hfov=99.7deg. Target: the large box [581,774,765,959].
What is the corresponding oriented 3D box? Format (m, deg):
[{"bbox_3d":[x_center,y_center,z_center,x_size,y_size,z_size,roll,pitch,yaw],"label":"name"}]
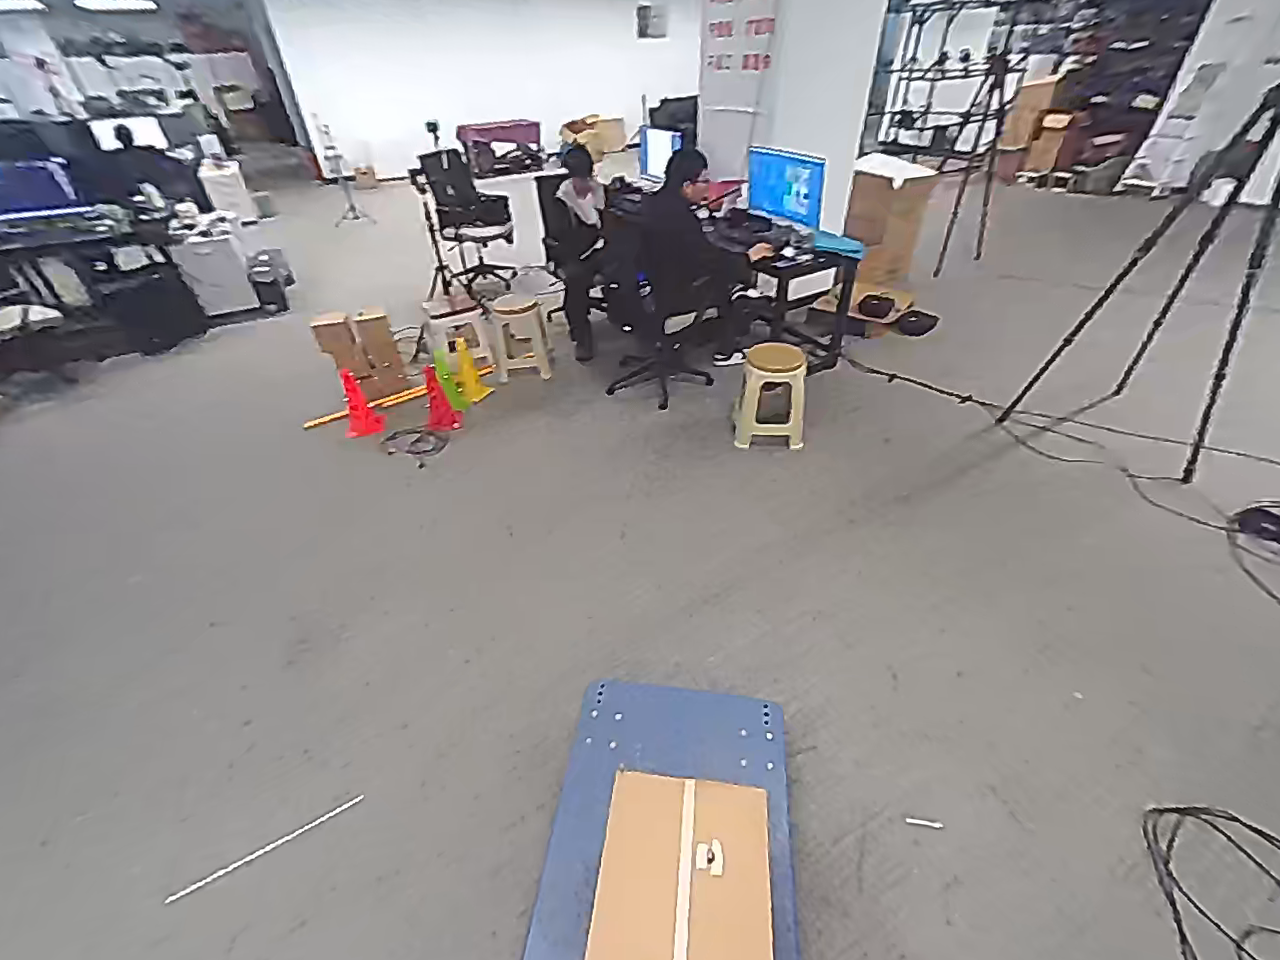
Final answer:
[{"bbox_3d":[0.072,0.876,1.070,0.320,0.320,0.408,4,38,7],"label":"large box"}]
